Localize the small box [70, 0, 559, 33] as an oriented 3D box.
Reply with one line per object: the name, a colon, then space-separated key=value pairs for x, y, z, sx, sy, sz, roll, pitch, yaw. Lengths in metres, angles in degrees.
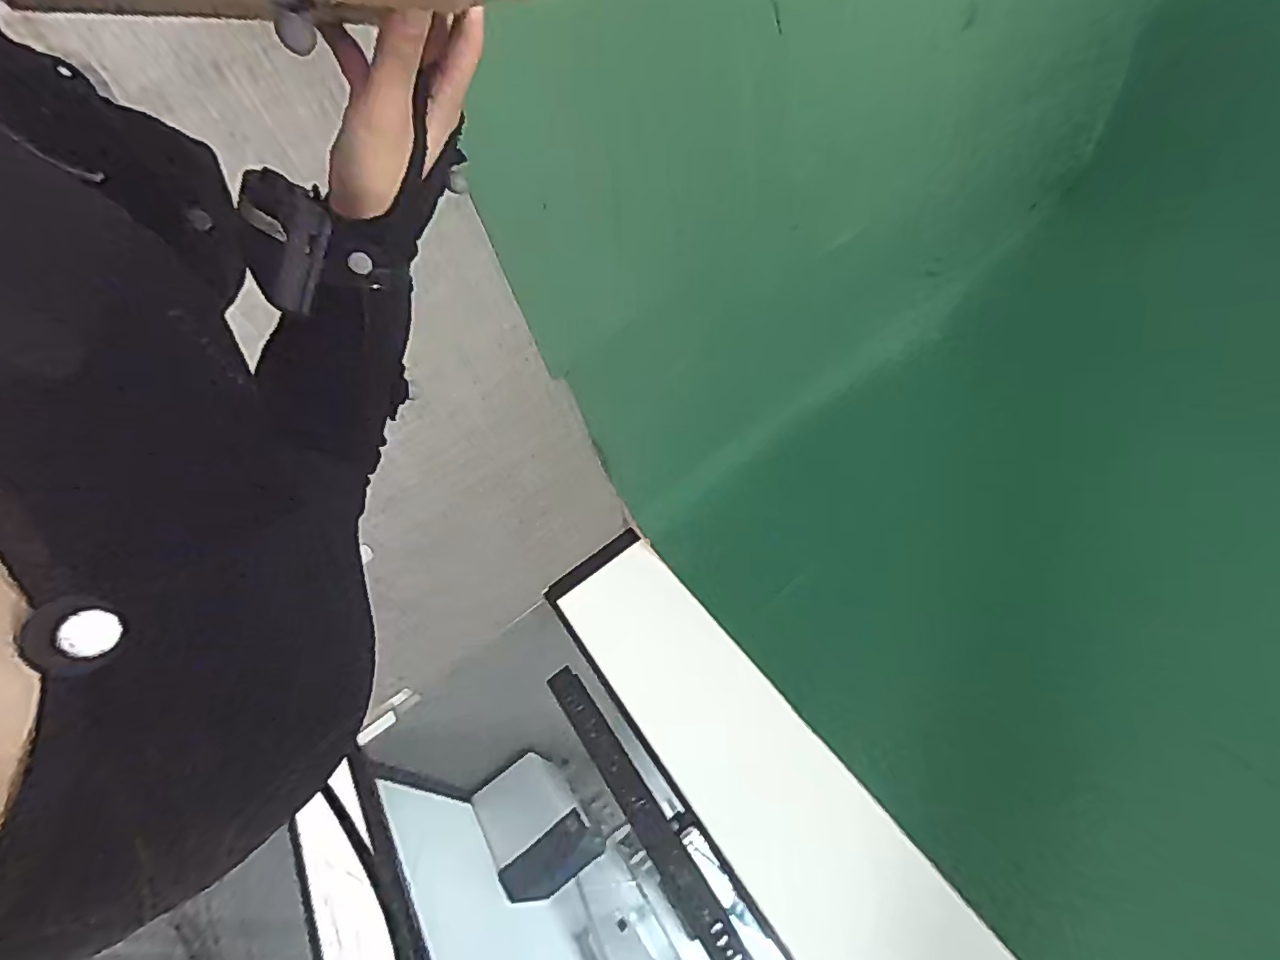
small box: x=-0.148 y=-0.270 z=0.182 sx=0.168 sy=0.176 sz=0.179 roll=-33 pitch=137 yaw=-37
